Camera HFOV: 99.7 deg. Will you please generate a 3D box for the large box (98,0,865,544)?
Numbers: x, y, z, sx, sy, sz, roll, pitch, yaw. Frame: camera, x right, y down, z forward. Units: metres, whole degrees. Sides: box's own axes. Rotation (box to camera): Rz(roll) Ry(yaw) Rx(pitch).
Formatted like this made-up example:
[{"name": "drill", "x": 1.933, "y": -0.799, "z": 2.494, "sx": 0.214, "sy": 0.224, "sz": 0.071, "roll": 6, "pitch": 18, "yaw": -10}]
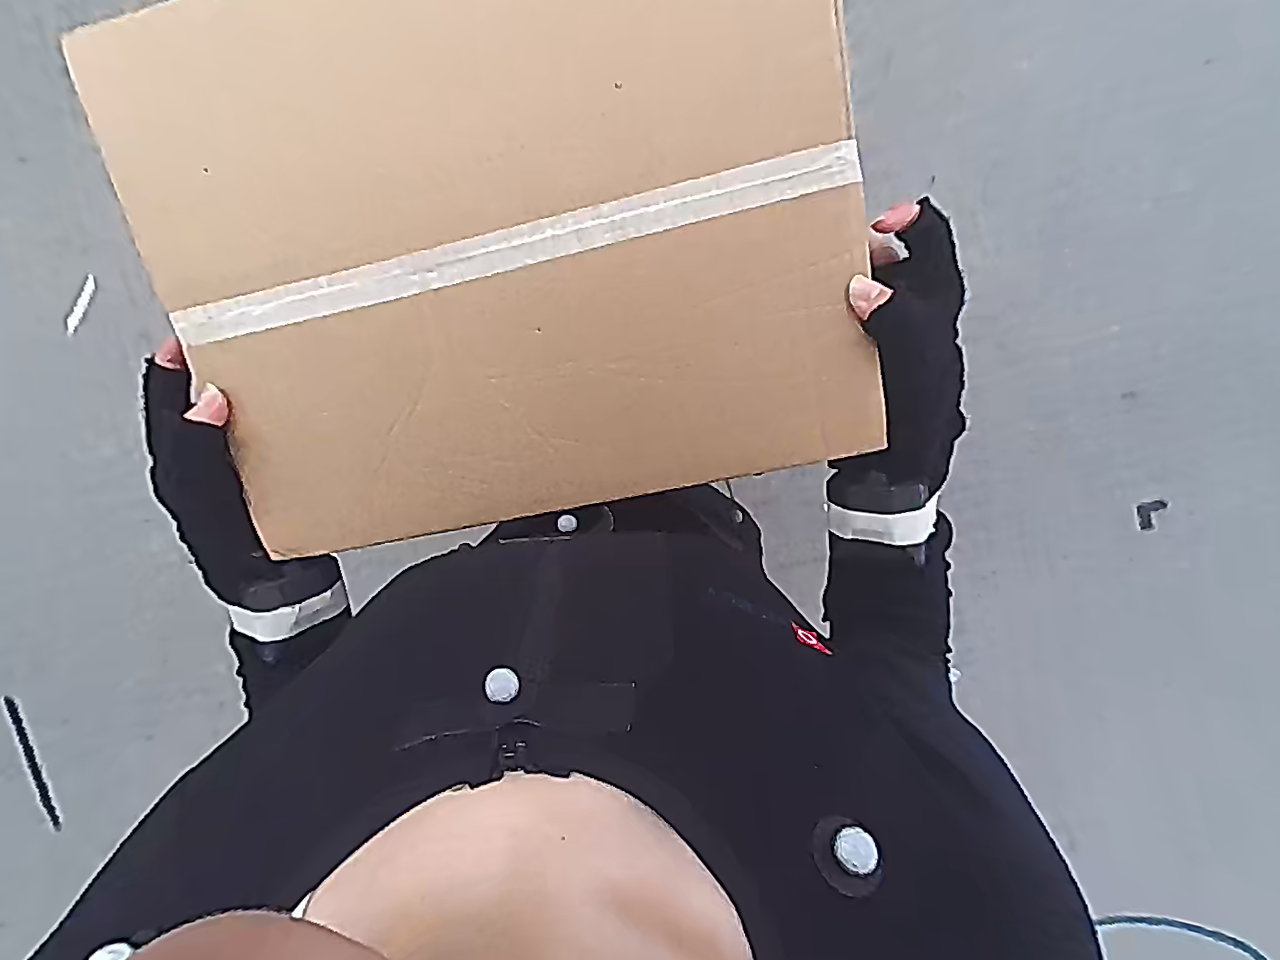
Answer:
[{"name": "large box", "x": -0.074, "y": -0.176, "z": 0.462, "sx": 0.408, "sy": 0.320, "sz": 0.320, "roll": -11, "pitch": 104, "yaw": 7}]
